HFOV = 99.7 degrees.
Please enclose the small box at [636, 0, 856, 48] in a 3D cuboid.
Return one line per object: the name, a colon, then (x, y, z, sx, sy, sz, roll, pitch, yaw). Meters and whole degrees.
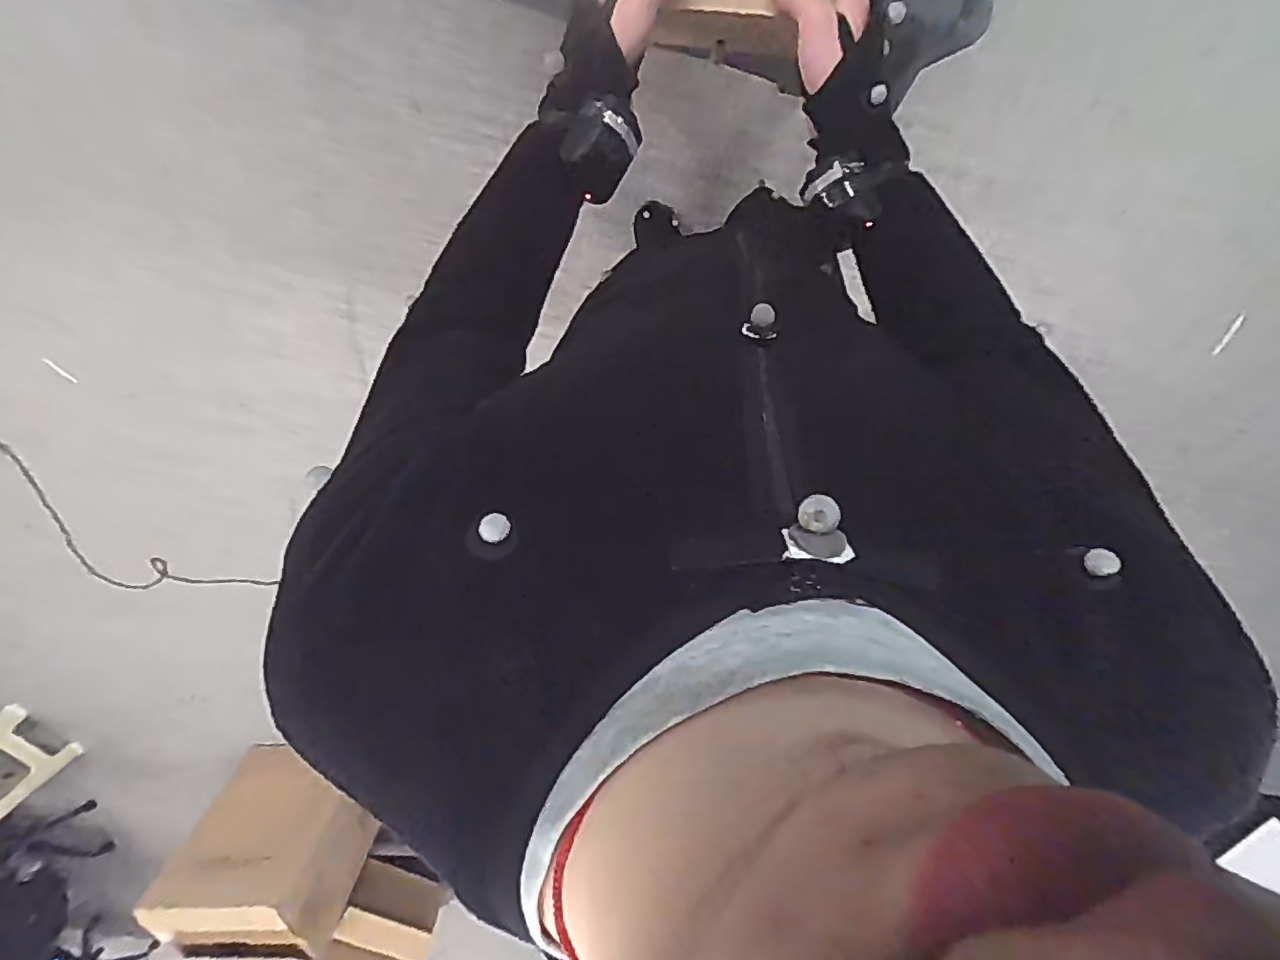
small box: (0.091, -0.483, 0.454, 0.179, 0.176, 0.168, 5, 122, -1)
